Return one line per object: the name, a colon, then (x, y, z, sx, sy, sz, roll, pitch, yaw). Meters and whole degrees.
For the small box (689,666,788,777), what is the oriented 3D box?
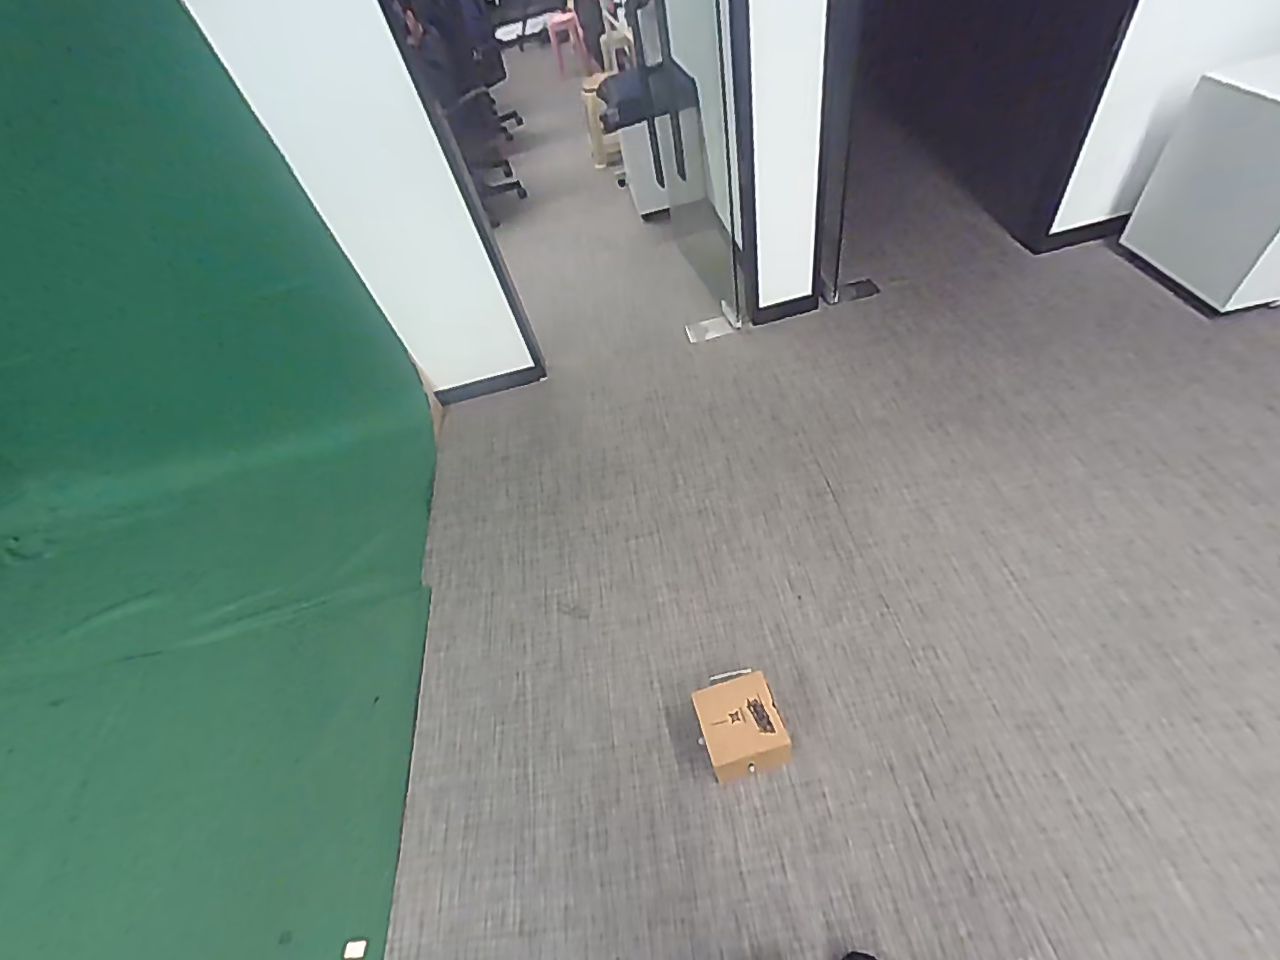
small box: (0.228, 0.568, 1.267, 0.179, 0.176, 0.168, -19, 49, -3)
